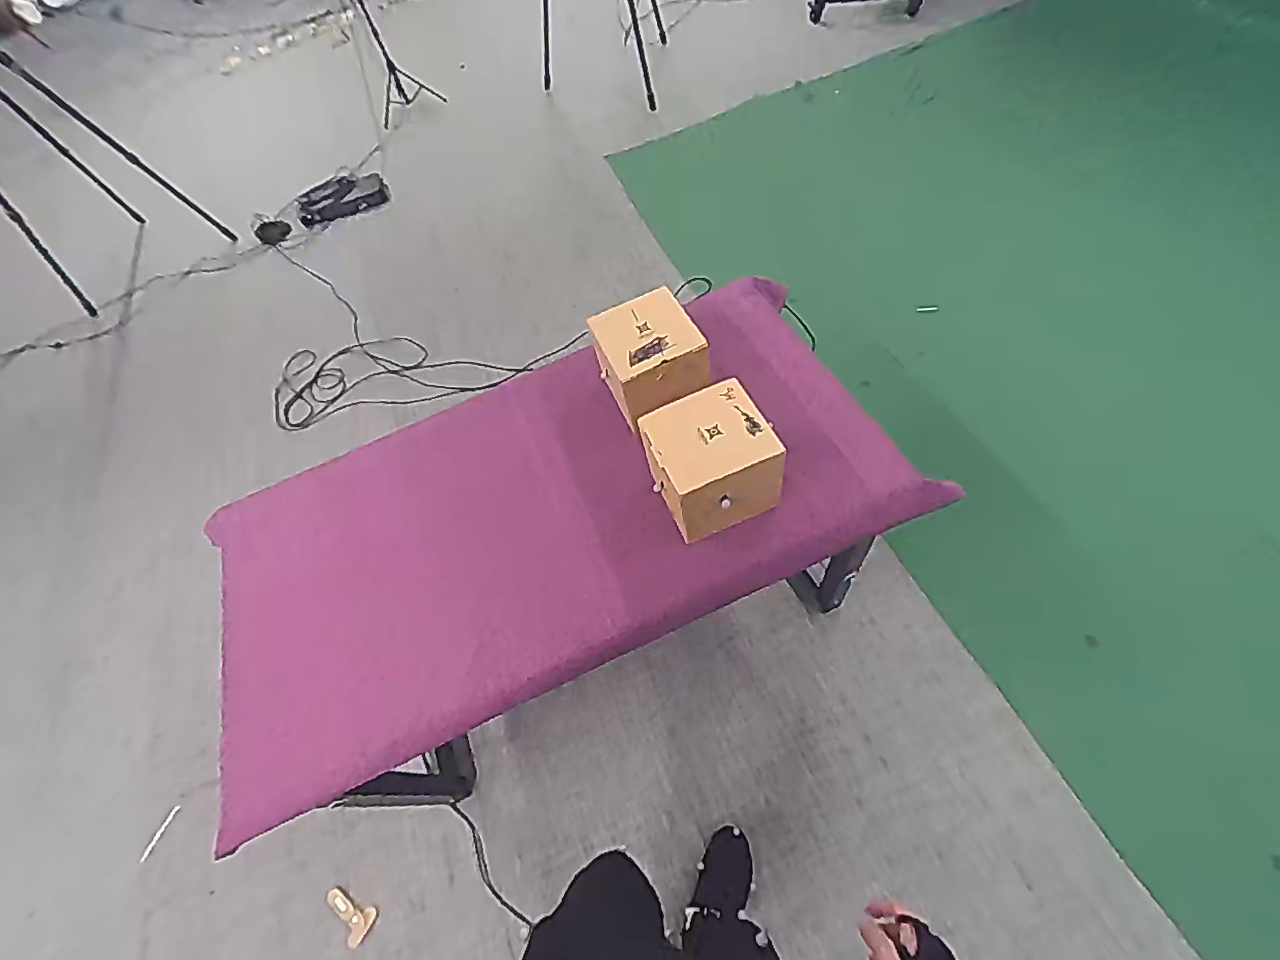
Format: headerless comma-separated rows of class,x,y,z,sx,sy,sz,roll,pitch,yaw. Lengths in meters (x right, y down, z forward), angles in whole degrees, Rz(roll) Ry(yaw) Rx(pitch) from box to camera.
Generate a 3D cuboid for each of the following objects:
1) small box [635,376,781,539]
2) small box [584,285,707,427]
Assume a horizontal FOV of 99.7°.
small box,0.113,-0.029,0.878,0.179,0.176,0.168,-24,57,-3
small box,0.018,-0.220,1.011,0.168,0.176,0.179,-25,58,-4
